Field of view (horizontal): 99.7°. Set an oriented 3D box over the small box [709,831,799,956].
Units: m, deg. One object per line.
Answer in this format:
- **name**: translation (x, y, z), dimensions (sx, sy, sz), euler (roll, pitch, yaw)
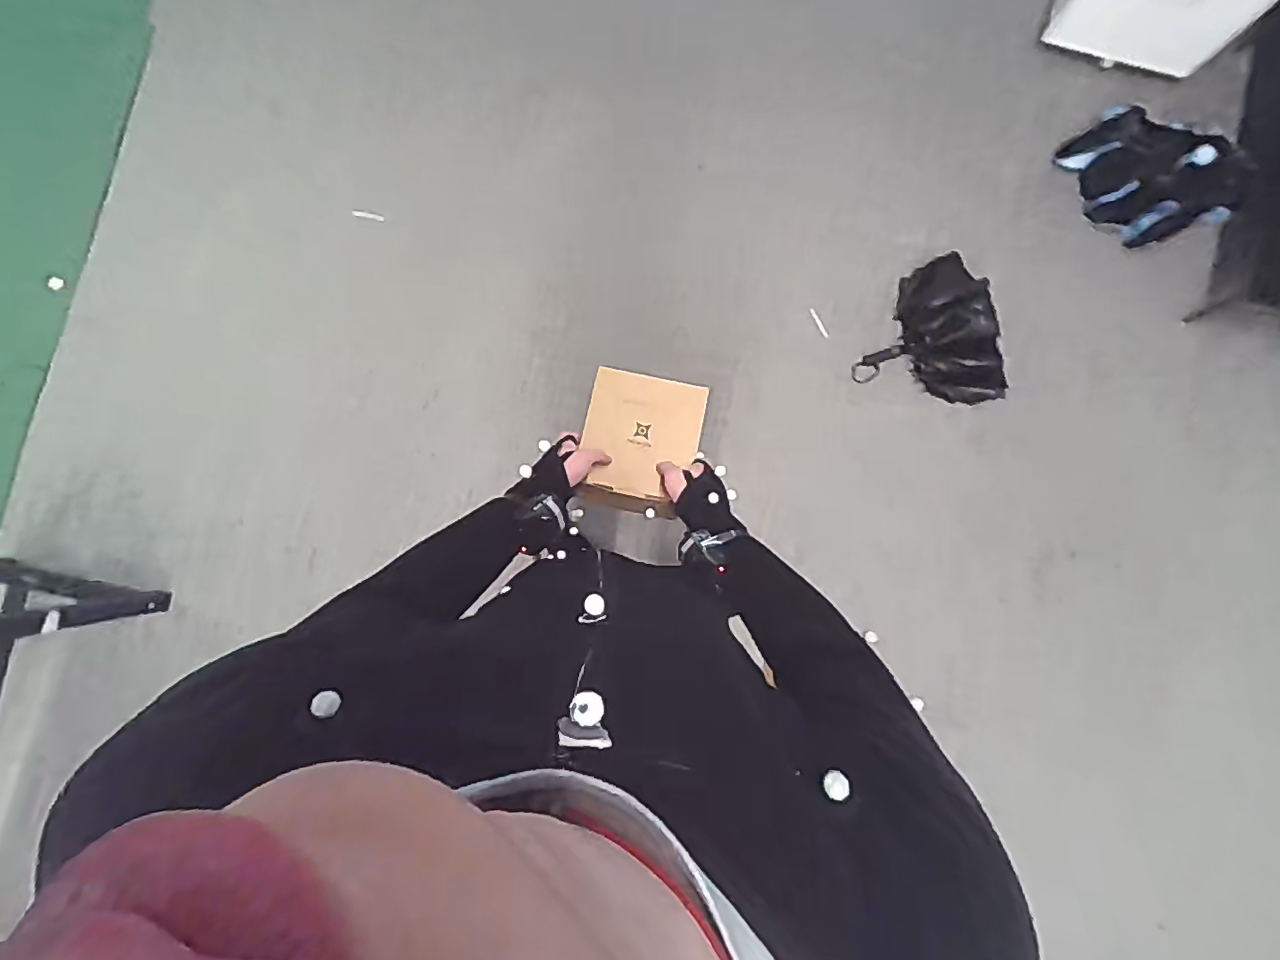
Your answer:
- **small box**: translation (0.283, 1.038, 1.376), dimensions (0.179, 0.176, 0.168), euler (16, 85, 6)
